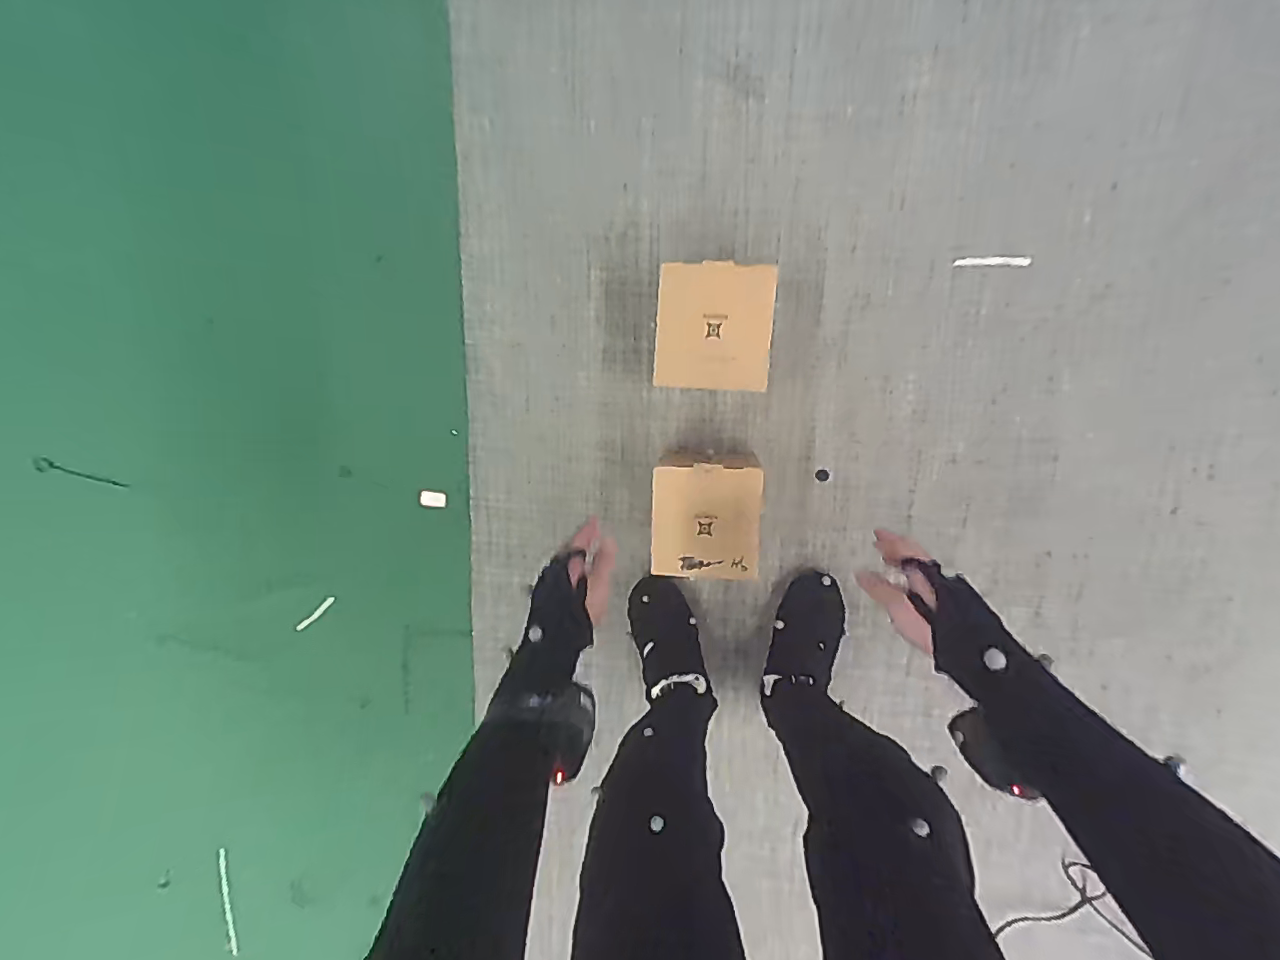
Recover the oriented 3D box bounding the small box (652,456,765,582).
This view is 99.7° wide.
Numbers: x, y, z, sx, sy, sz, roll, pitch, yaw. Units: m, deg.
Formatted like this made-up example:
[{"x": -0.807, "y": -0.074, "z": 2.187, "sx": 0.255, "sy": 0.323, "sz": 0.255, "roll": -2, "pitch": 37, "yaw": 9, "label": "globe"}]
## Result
[{"x": 0.112, "y": 0.054, "z": 0.892, "sx": 0.168, "sy": 0.176, "sz": 0.179, "roll": 2, "pitch": 99, "yaw": 9, "label": "small box"}]
